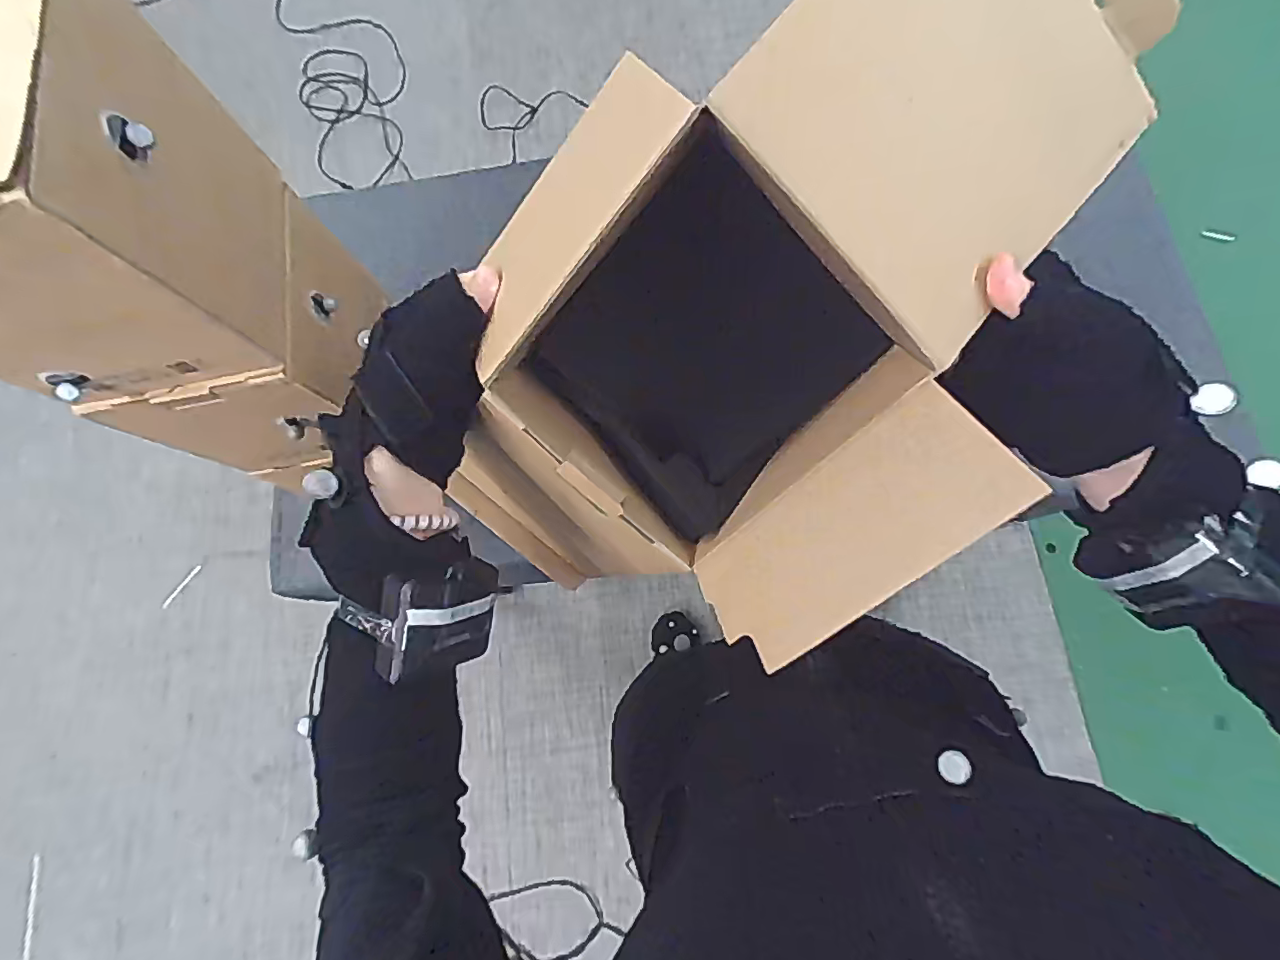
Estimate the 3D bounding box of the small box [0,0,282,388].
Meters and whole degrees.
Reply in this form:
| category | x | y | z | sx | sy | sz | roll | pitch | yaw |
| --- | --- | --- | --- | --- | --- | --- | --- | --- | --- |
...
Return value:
| category | x | y | z | sx | sy | sz | roll | pitch | yaw |
| --- | --- | --- | --- | --- | --- | --- | --- | --- | --- |
| small box | -0.357 | -0.171 | 0.337 | 0.168 | 0.176 | 0.179 | -11 | 75 | 1 |

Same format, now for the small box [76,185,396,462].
| category | x | y | z | sx | sy | sz | roll | pitch | yaw |
| --- | --- | --- | --- | --- | --- | --- | --- | --- | --- |
| small box | -0.342 | -0.123 | 0.494 | 0.168 | 0.176 | 0.179 | -10 | 75 | 2 |

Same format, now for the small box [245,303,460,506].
| category | x | y | z | sx | sy | sz | roll | pitch | yaw |
| --- | --- | --- | --- | --- | --- | --- | --- | --- | --- |
| small box | -0.331 | -0.080 | 0.651 | 0.168 | 0.176 | 0.179 | -10 | 75 | 2 |
